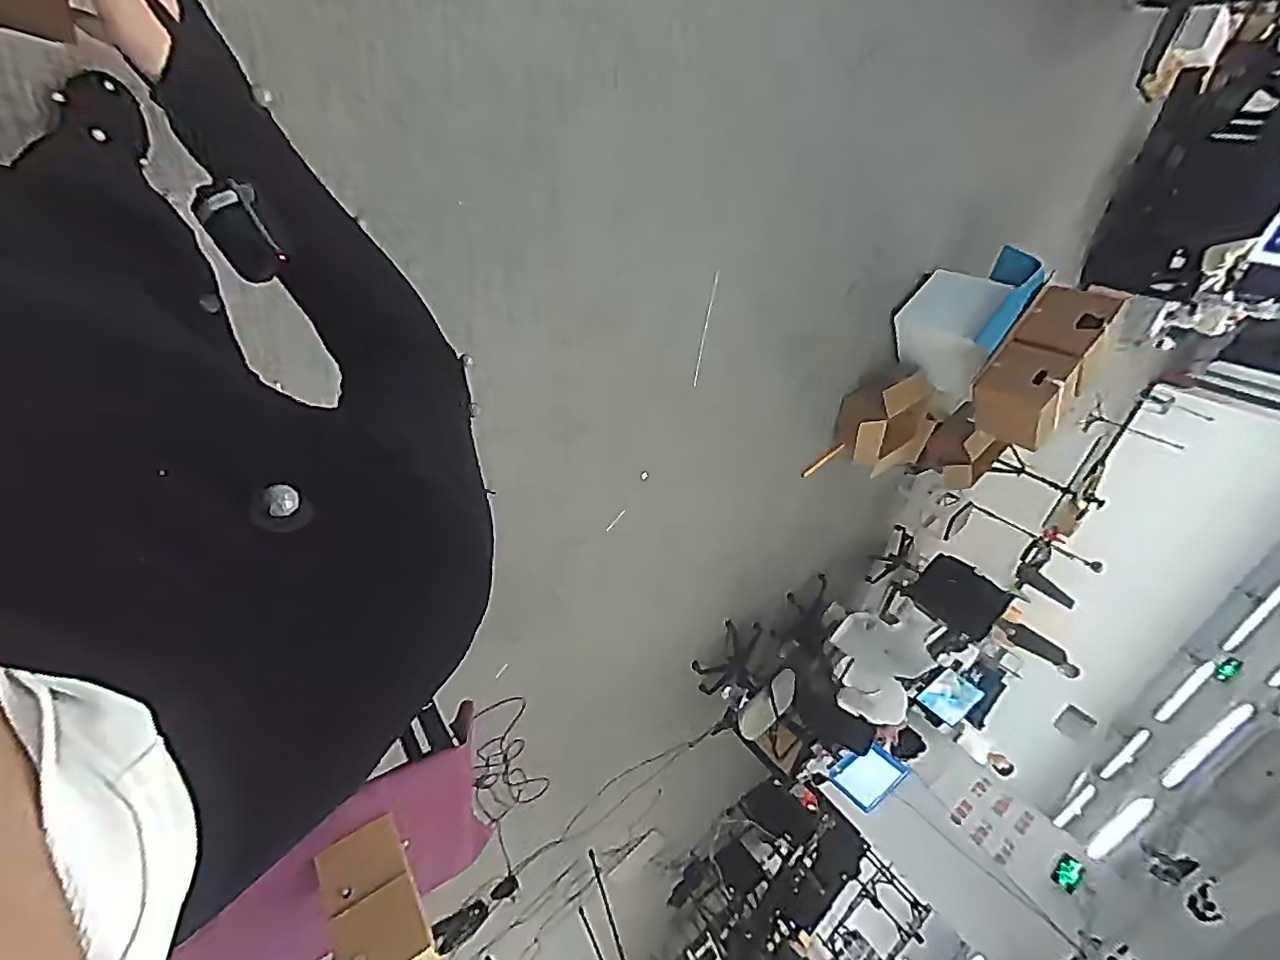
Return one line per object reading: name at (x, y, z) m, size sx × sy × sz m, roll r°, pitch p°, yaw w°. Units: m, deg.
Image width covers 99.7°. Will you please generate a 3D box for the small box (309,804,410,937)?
small box at (-0.687, 0.945, 1.321) m, size 0.179 × 0.176 × 0.168 m, roll -19°, pitch 132°, yaw -33°
